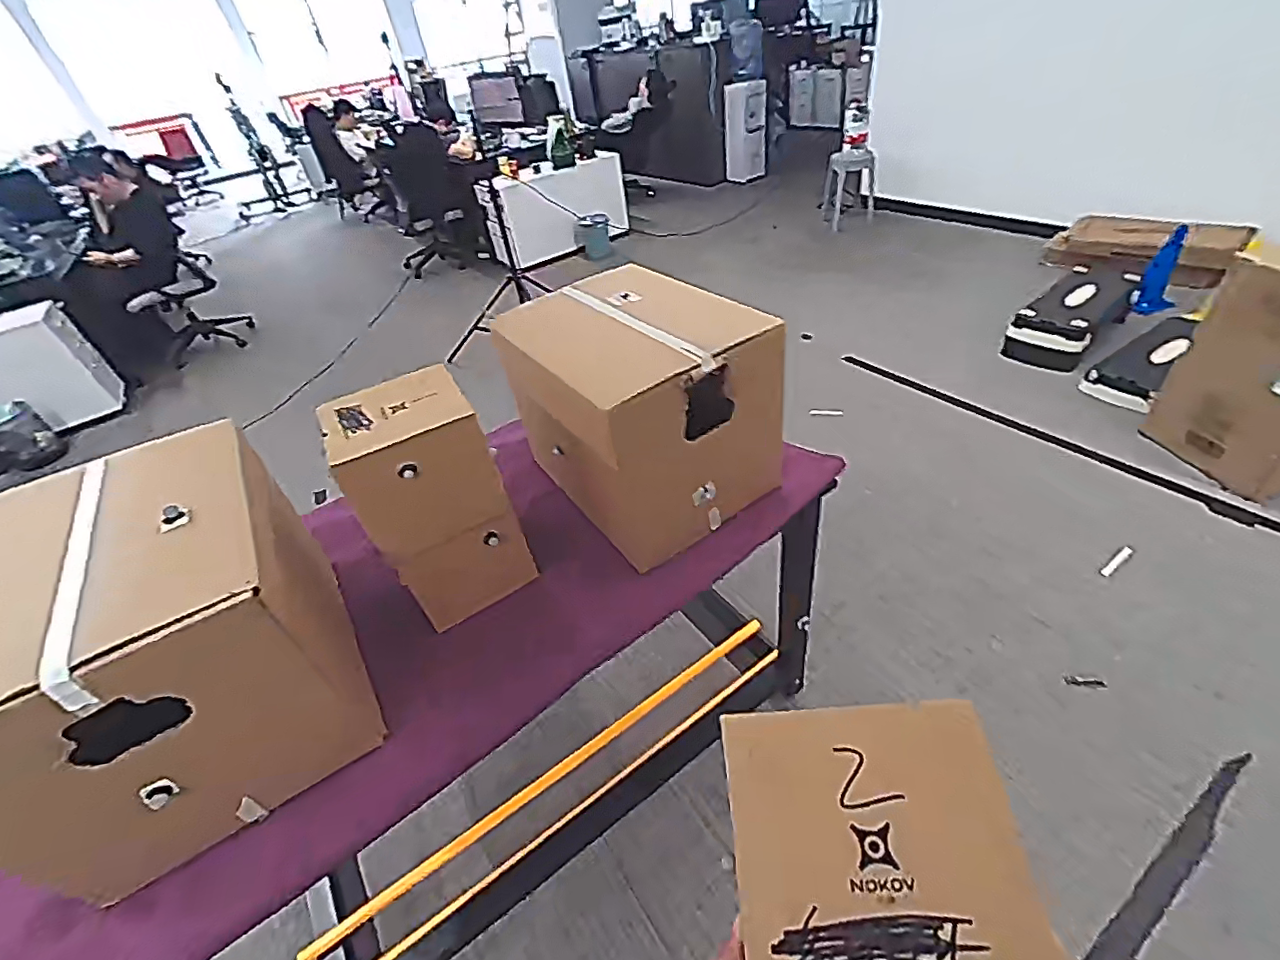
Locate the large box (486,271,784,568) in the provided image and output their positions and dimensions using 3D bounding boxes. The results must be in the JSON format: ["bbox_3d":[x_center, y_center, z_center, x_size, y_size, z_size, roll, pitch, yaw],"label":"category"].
[{"bbox_3d":[-0.004,-0.125,0.935,0.320,0.320,0.408,-29,42,-22],"label":"large box"}]
